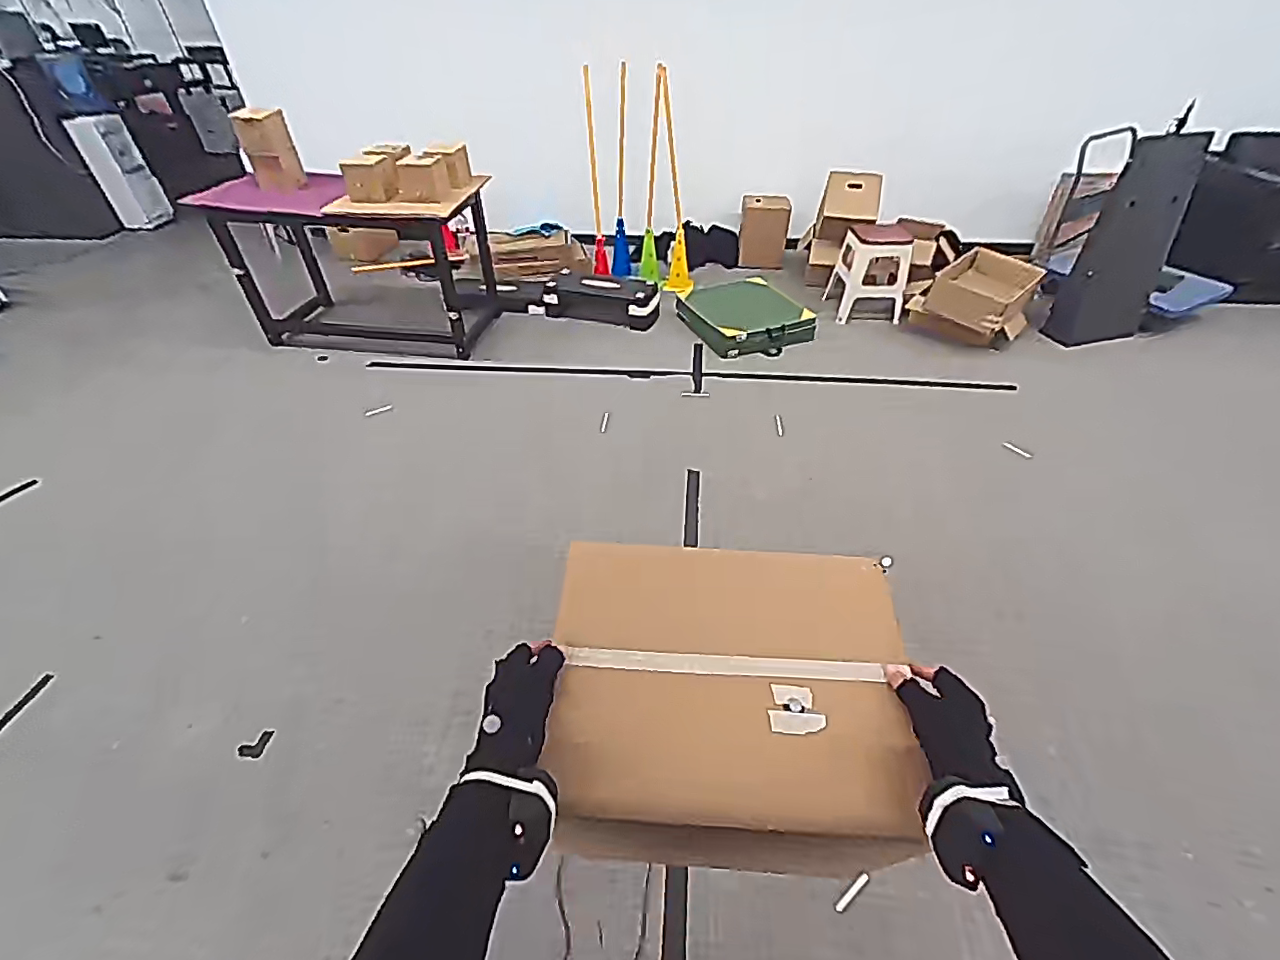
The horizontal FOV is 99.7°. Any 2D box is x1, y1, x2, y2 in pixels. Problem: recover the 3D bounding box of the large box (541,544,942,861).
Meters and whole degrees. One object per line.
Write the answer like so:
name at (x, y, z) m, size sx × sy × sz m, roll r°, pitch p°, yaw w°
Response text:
large box at (0.102, 0.306, 0.737) m, size 0.408 × 0.320 × 0.320 m, roll 3°, pitch 50°, yaw 2°
